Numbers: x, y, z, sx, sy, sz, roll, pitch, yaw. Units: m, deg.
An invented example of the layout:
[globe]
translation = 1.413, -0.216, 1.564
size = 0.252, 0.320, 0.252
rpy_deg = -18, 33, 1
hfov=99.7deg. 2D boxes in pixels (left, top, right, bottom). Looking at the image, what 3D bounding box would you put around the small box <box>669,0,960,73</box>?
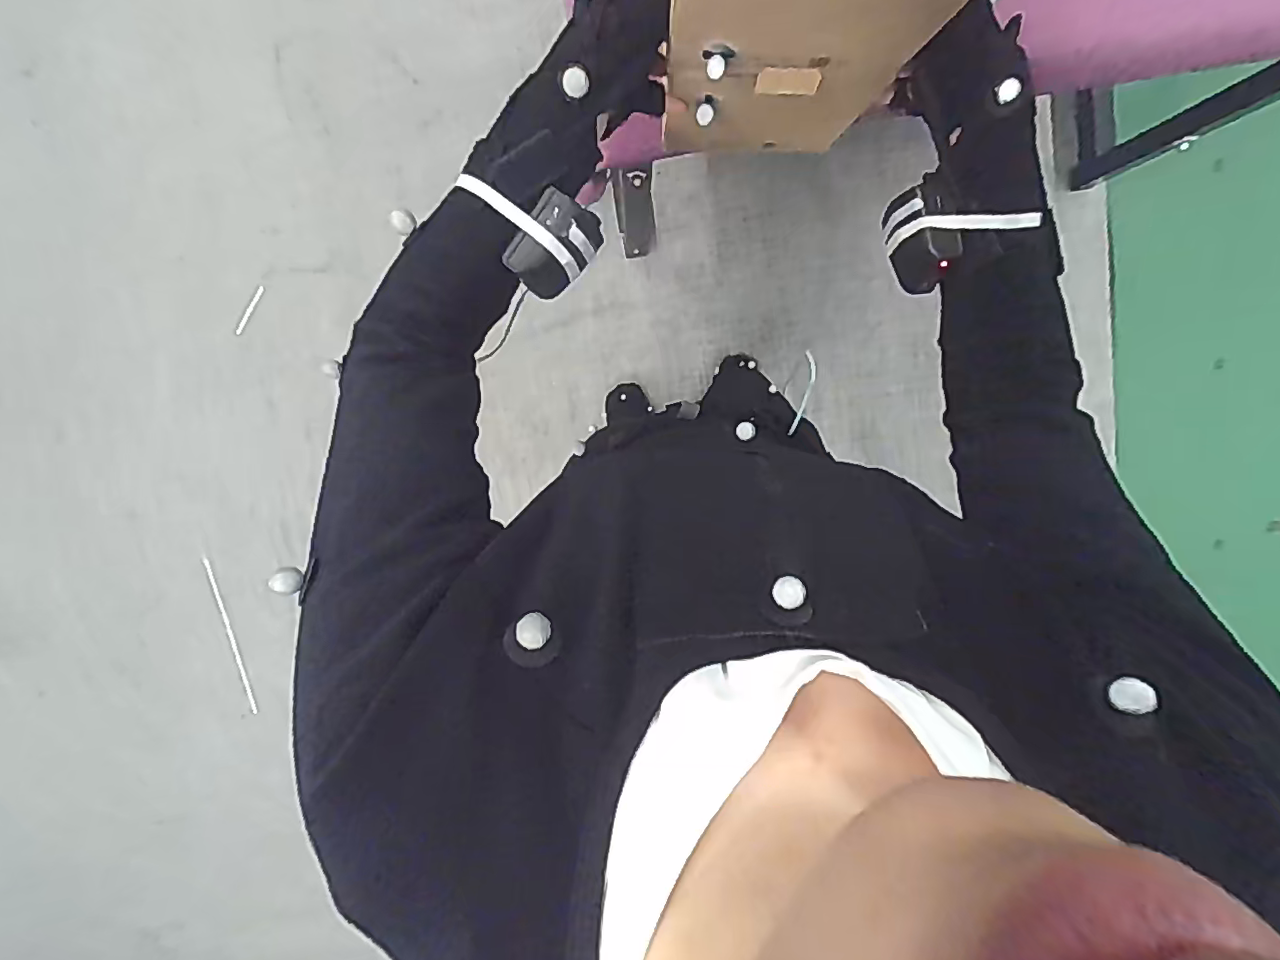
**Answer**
[small box]
translation = 0.108, -0.349, 0.280
size = 0.168, 0.176, 0.179
rpy_deg = 3, 105, -3
